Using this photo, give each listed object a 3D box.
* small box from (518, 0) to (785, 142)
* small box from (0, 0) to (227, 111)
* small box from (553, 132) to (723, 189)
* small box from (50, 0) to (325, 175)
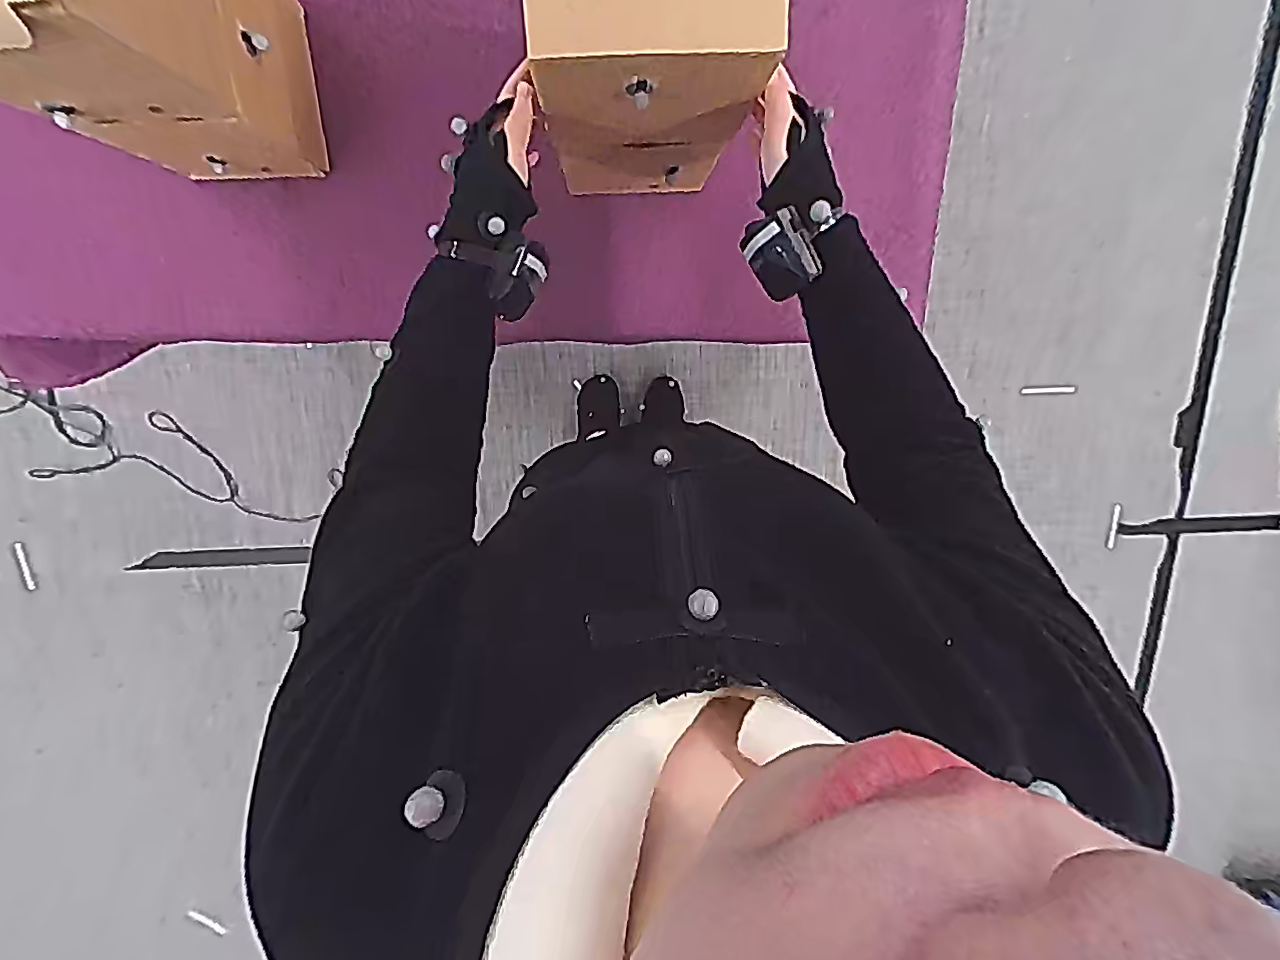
[{"bbox_3d":[0.003,-0.378,0.414,0.179,0.176,0.168,-3,105,-3],"label":"small box"},{"bbox_3d":[-0.446,-0.391,0.389,0.168,0.176,0.179,-4,104,-3],"label":"small box"},{"bbox_3d":[-0.005,-0.421,0.572,0.168,0.176,0.179,-2,104,-3],"label":"small box"},{"bbox_3d":[-0.454,-0.431,0.547,0.168,0.176,0.179,-3,105,-2],"label":"small box"}]
